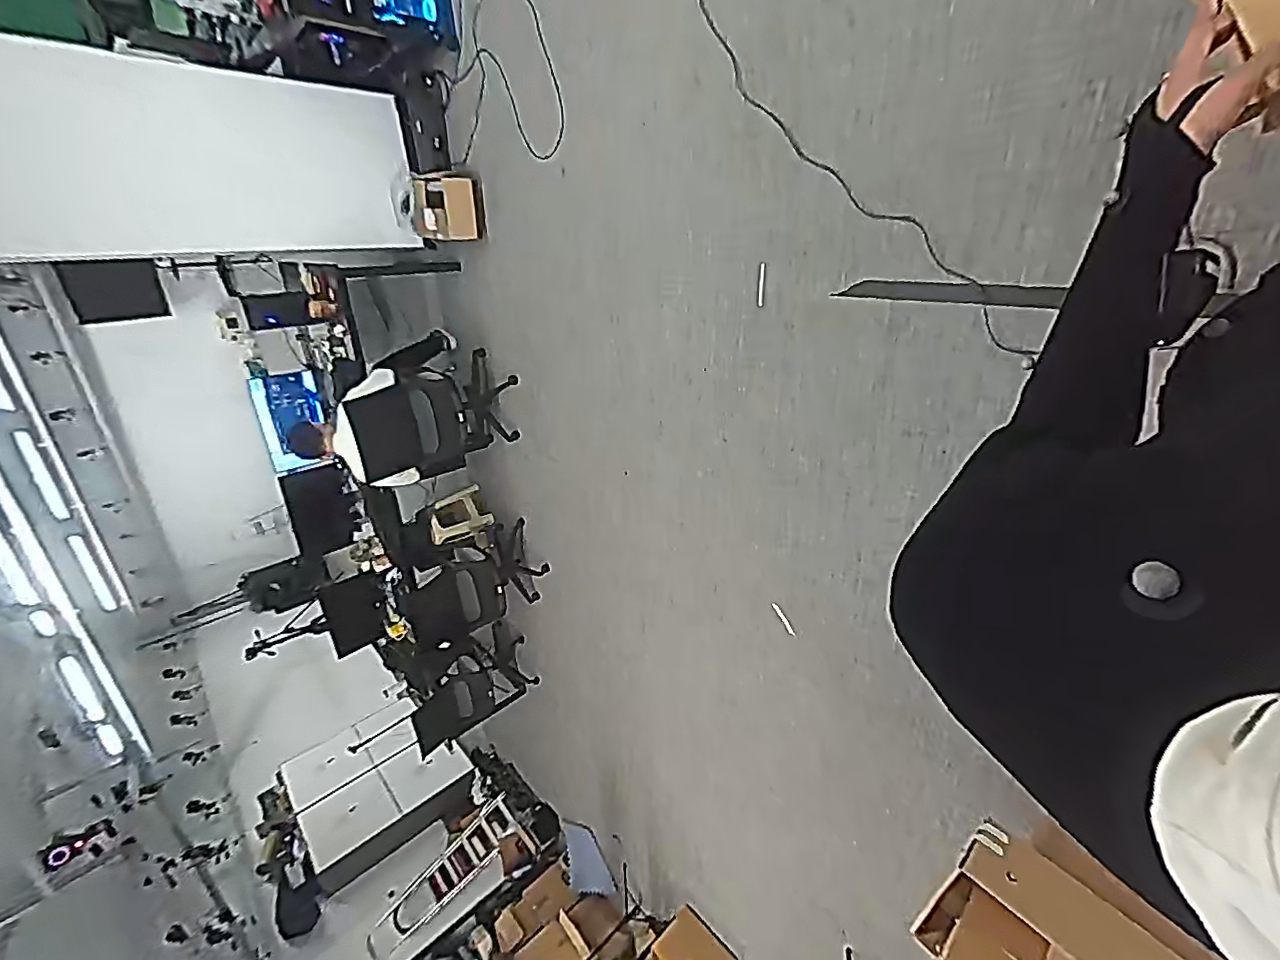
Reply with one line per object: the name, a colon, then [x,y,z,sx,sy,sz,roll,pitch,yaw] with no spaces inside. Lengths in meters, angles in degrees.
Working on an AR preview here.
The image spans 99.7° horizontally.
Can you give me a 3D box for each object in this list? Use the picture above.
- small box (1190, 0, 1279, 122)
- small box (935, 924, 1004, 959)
small box: [0.554,-0.421,0.414,0.168,0.176,0.179,-25,84,49]
small box: [0.777,1.196,1.248,0.179,0.176,0.168,28,128,39]
